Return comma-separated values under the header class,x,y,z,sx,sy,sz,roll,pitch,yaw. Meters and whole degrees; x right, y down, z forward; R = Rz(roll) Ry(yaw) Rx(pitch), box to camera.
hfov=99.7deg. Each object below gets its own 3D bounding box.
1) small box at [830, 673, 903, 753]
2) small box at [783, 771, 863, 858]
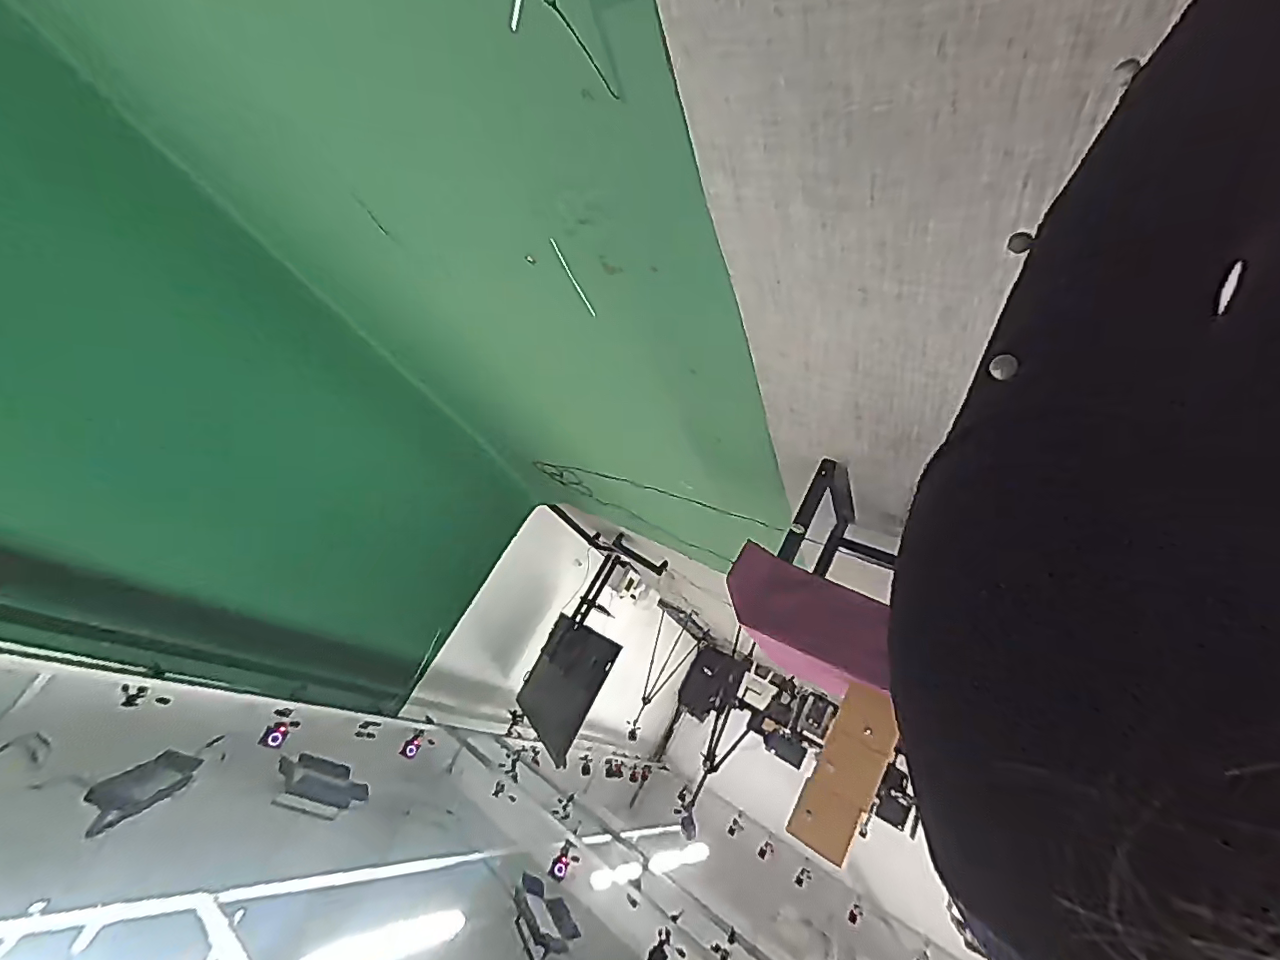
class,x,y,z,sx,sy,sz,roll,pitch,yaw
small box,0.733,0.749,1.743,0.179,0.176,0.168,21,161,32
small box,0.569,1.025,1.673,0.179,0.176,0.168,20,161,34
